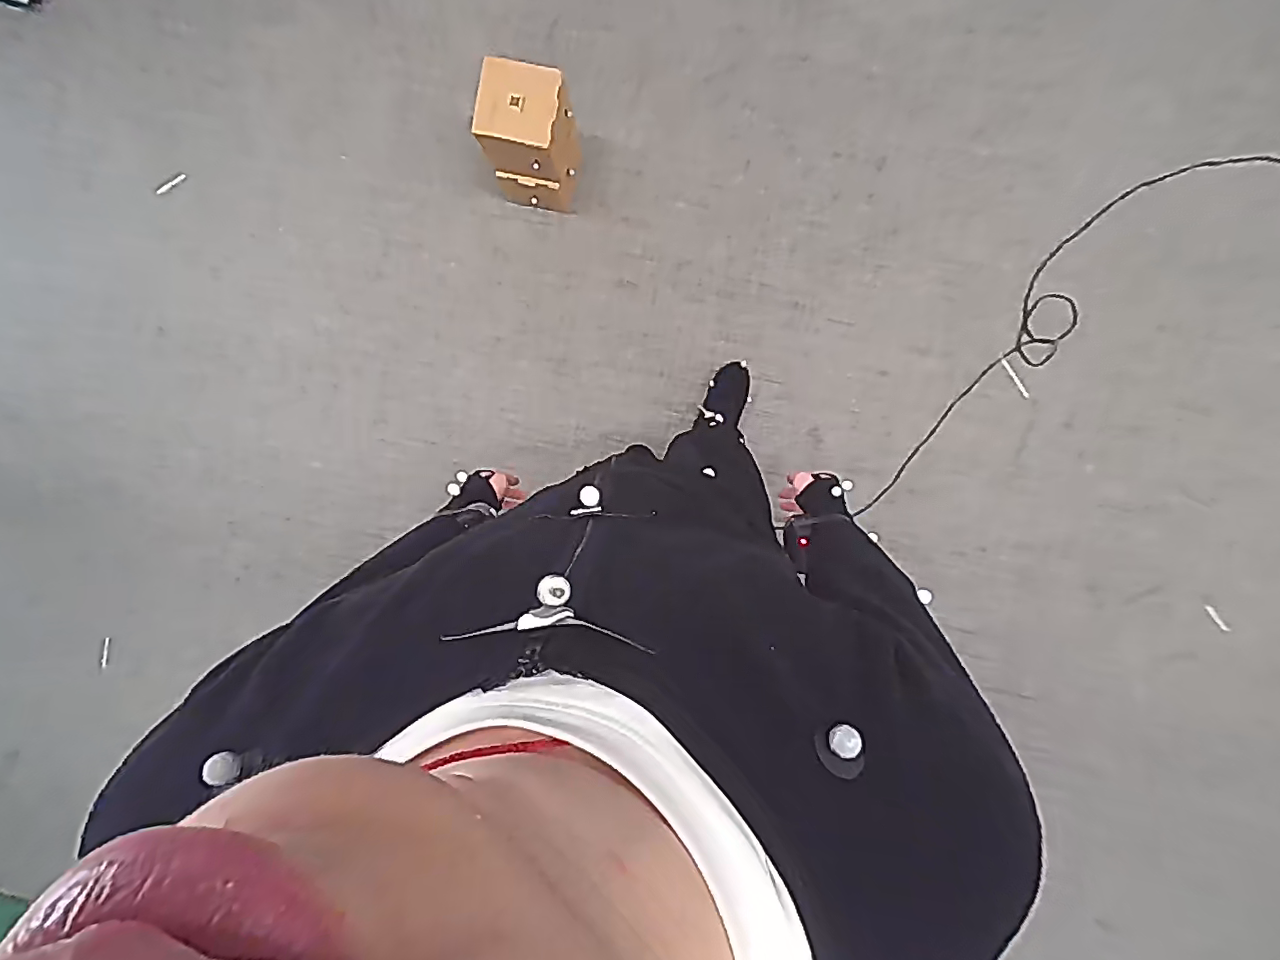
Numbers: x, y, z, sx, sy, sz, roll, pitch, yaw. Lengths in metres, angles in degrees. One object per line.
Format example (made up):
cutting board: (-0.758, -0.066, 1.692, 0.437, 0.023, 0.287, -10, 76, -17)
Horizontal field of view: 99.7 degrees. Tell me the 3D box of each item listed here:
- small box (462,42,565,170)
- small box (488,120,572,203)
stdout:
small box: (-0.277, -0.832, 1.221, 0.179, 0.176, 0.168, 12, 95, 1)
small box: (-0.279, -0.847, 1.402, 0.168, 0.176, 0.179, 10, 96, 2)
